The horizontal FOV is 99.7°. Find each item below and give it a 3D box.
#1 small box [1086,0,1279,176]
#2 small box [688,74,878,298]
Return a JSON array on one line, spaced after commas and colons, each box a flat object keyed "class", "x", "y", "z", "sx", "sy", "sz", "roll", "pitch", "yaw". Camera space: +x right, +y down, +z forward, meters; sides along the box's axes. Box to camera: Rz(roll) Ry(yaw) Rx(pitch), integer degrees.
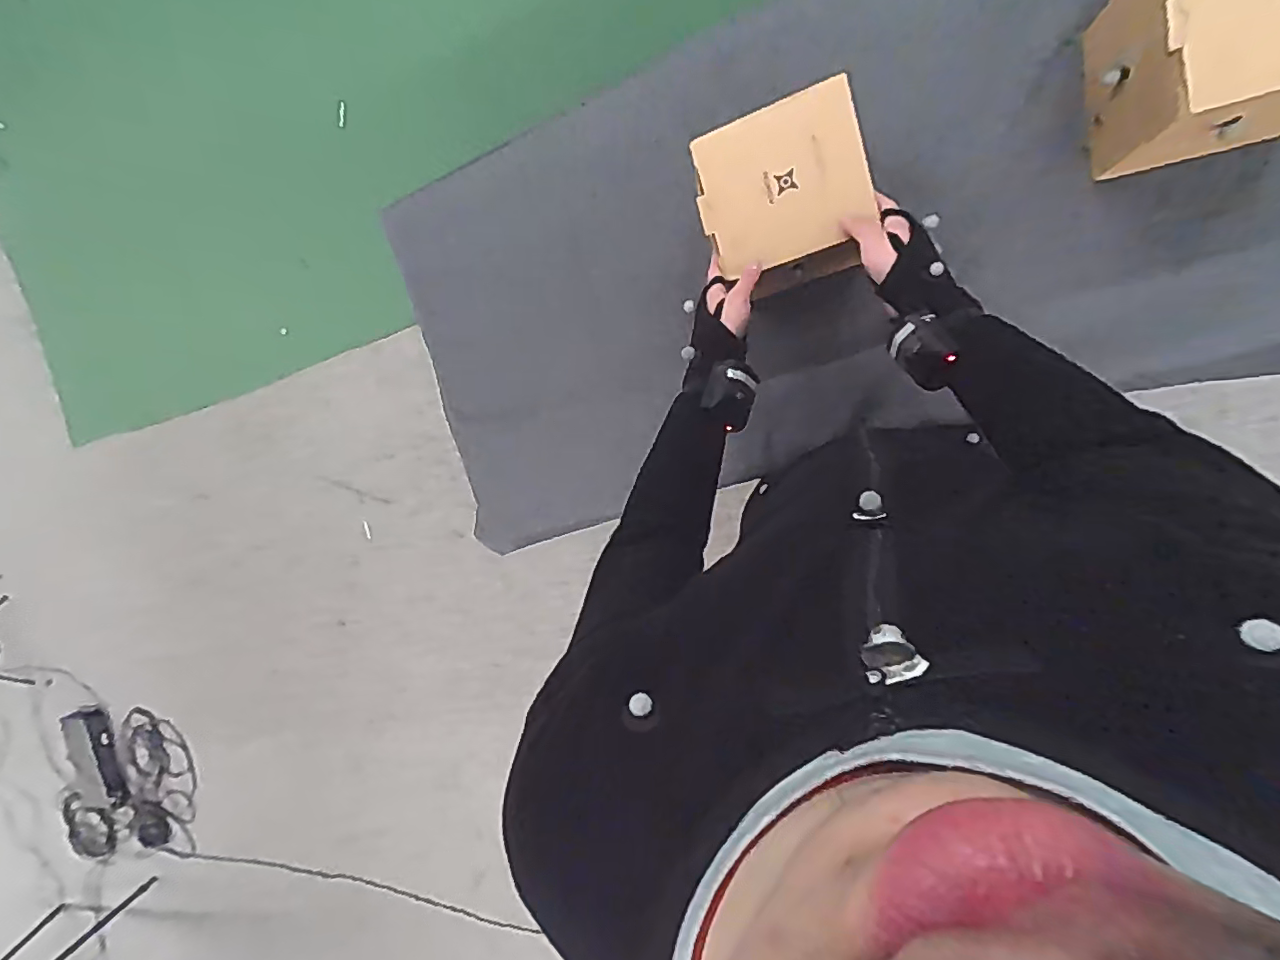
[{"class": "small box", "x": 0.579, "y": -0.433, "z": 0.536, "sx": 0.179, "sy": 0.176, "sz": 0.168, "roll": -7, "pitch": 97, "yaw": 18}, {"class": "small box", "x": 0.177, "y": -0.342, "z": 0.675, "sx": 0.179, "sy": 0.176, "sz": 0.168, "roll": -15, "pitch": 96, "yaw": 17}]
